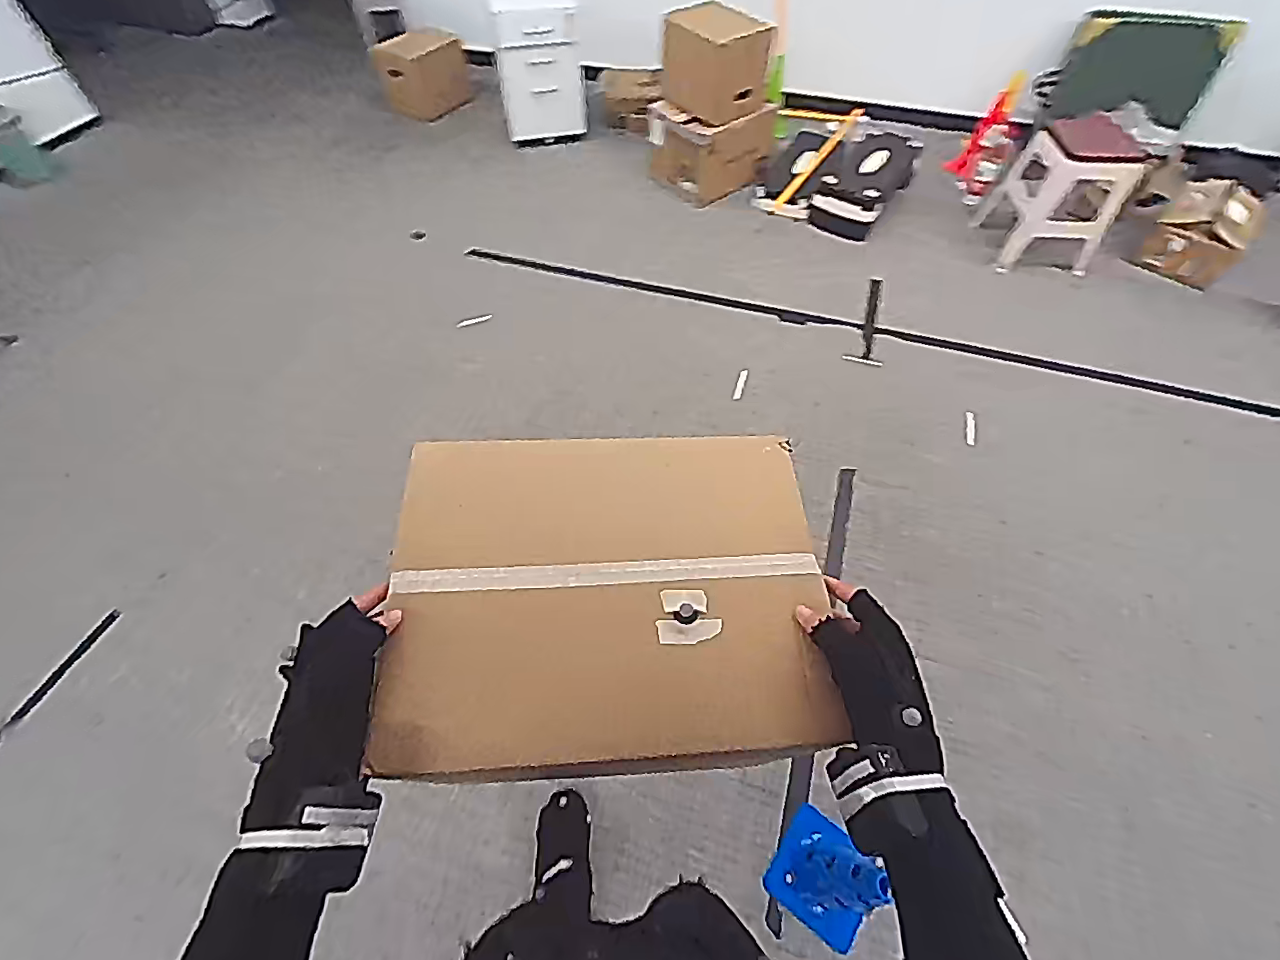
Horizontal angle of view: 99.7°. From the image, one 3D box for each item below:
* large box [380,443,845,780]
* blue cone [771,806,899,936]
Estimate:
[{"bbox_3d":[-0.035,0.170,0.658,0.408,0.320,0.320,-1,59,-4],"label":"large box"},{"bbox_3d":[0.403,0.753,1.040,0.193,0.380,0.192,34,62,20],"label":"blue cone"}]
